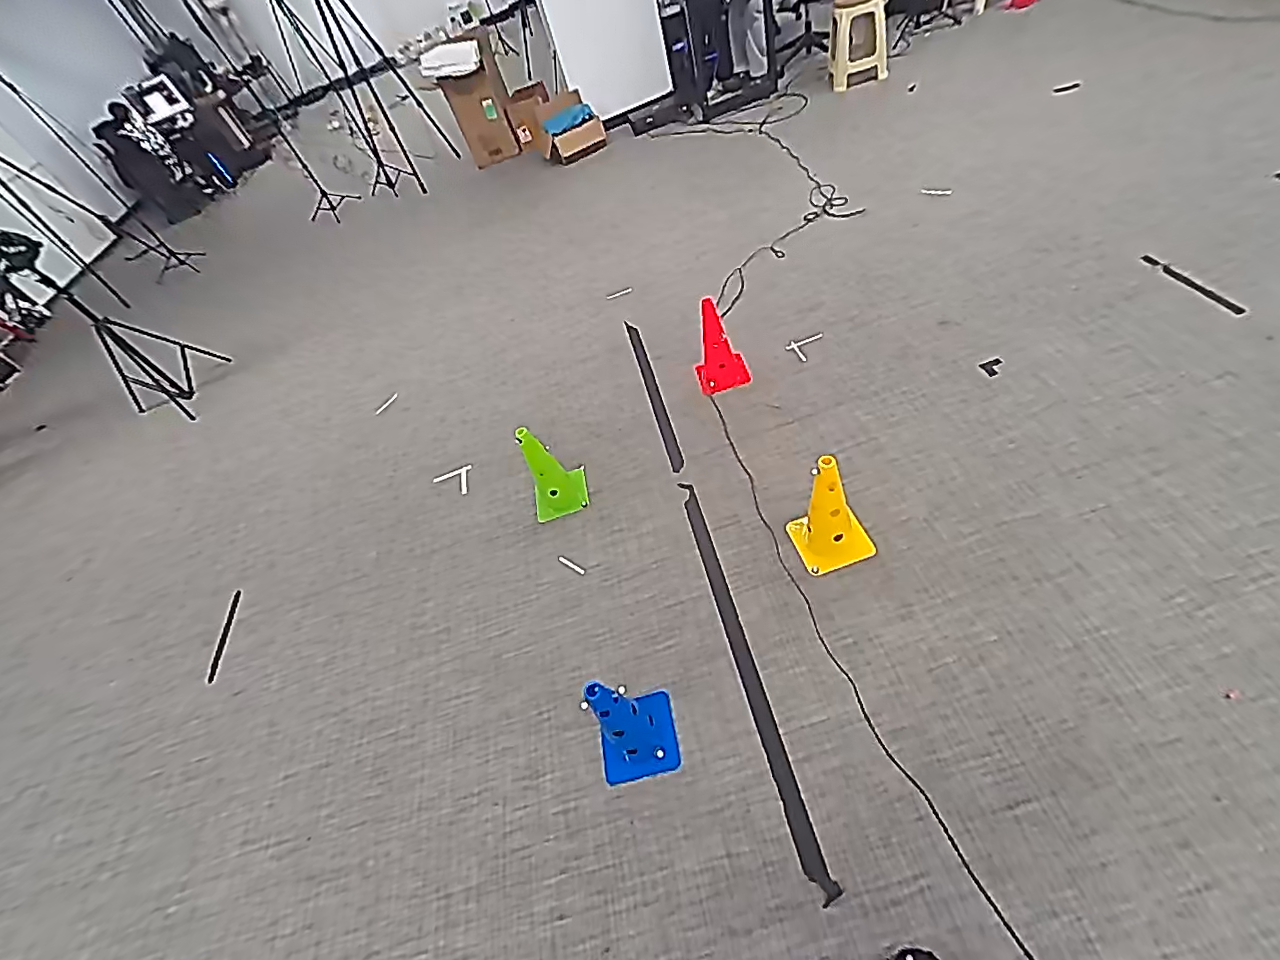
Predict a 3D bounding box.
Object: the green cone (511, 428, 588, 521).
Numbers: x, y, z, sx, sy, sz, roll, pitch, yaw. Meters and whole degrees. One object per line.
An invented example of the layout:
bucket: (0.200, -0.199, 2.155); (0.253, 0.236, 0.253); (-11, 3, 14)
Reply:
green cone: (-0.348, -0.053, 1.899); (0.202, 0.368, 0.200); (-20, 47, 5)

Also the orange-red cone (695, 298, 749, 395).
orange-red cone: (0.285, -0.535, 2.073); (0.199, 0.360, 0.198); (-15, 49, 7)

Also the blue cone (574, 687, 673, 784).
blue cone: (-0.061, 0.570, 1.287); (0.192, 0.380, 0.193); (-17, 47, 8)
